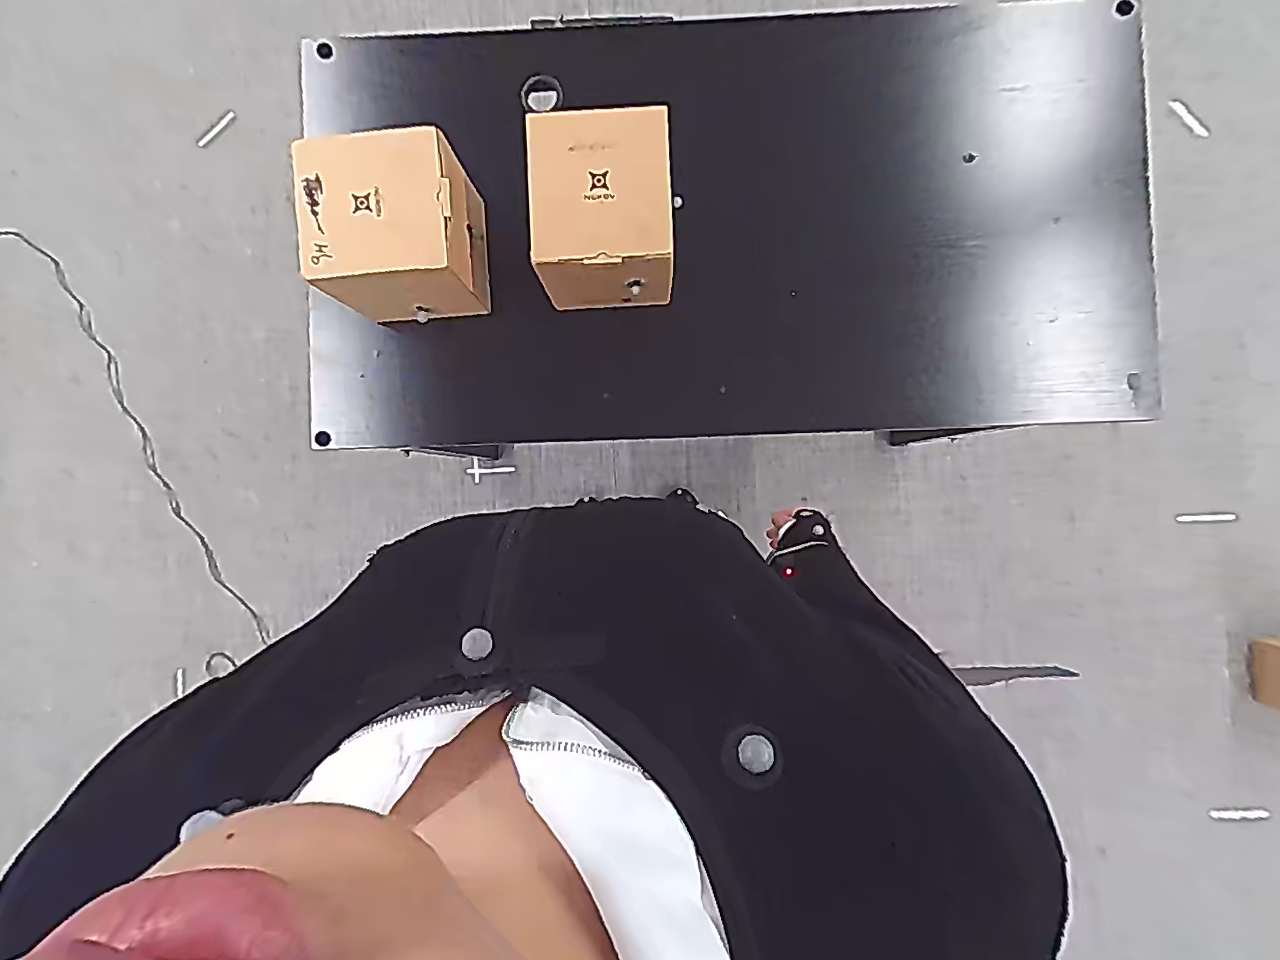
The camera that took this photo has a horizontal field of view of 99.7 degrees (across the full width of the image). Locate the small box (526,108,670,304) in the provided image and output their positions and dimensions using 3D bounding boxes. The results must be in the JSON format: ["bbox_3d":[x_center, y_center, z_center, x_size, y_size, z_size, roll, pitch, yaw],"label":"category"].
[{"bbox_3d":[-0.047,-0.338,0.702,0.168,0.176,0.179,-3,88,0],"label":"small box"}]

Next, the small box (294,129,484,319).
[{"bbox_3d":[-0.309,-0.318,0.703,0.179,0.176,0.168,-5,89,-1],"label":"small box"}]

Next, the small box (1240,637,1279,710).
[{"bbox_3d":[1.713,0.508,1.392,0.168,0.176,0.179,-2,90,2],"label":"small box"}]
